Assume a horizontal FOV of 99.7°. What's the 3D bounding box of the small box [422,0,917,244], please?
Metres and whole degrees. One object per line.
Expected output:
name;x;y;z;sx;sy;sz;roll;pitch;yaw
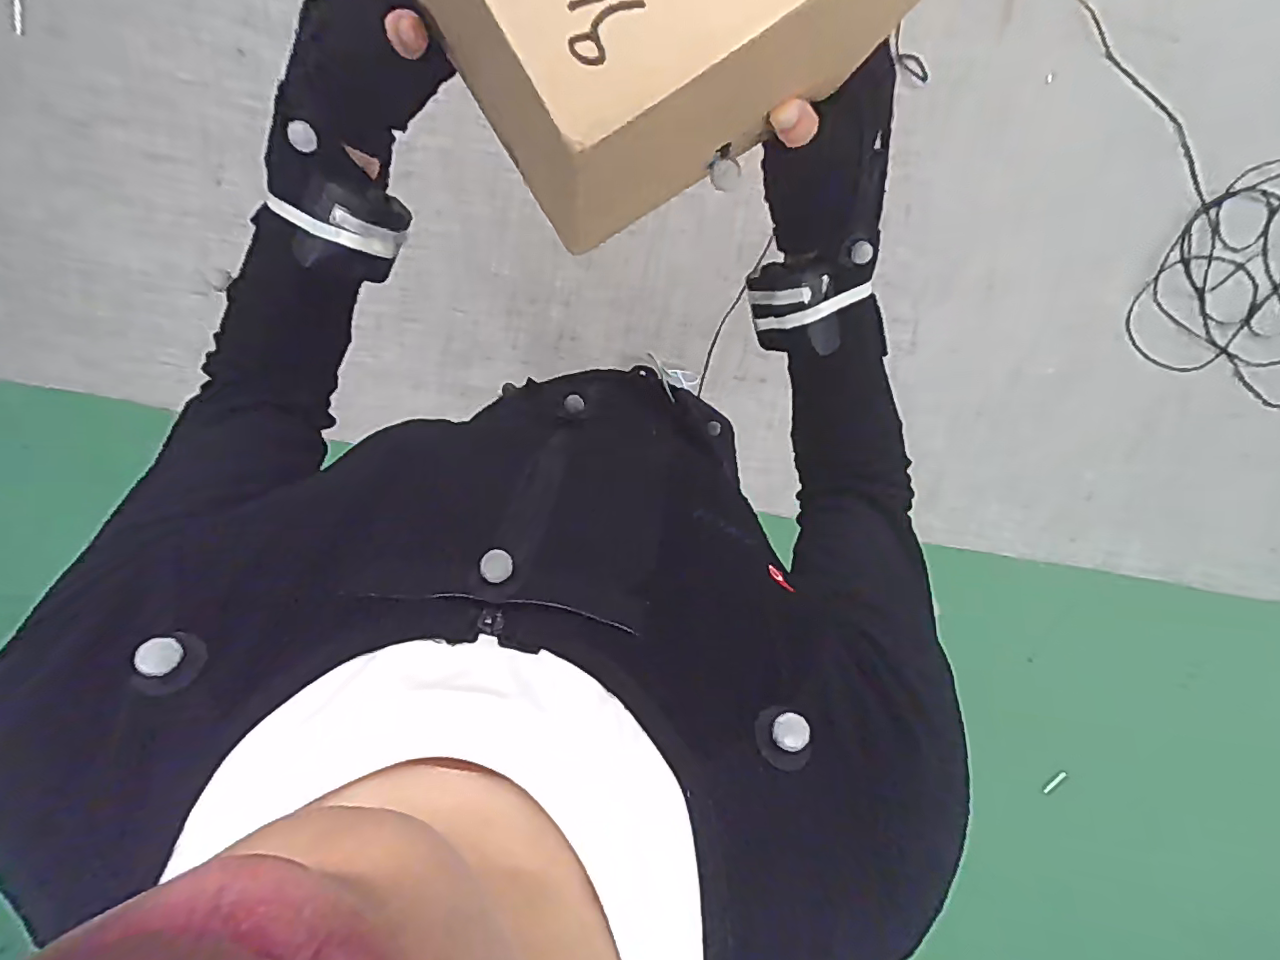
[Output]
small box;0.004;-0.225;0.215;0.179;0.176;0.168;-32;104;0
